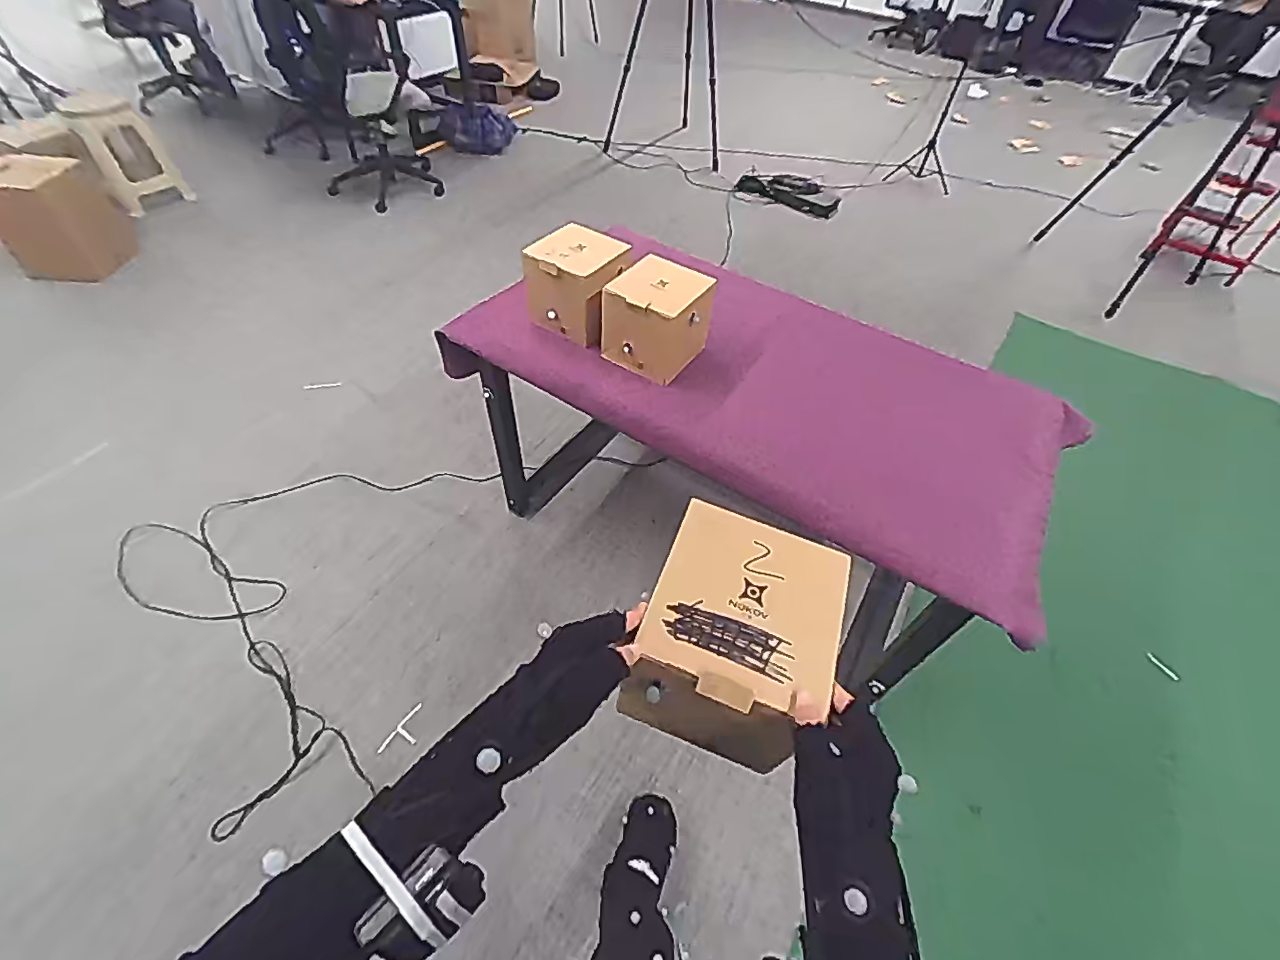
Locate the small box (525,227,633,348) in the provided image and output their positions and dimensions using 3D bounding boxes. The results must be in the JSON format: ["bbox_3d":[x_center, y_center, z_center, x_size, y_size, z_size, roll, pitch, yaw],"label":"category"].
[{"bbox_3d":[-0.135,-0.429,1.207,0.168,0.176,0.179,28,54,19],"label":"small box"}]

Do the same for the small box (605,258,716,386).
[{"bbox_3d":[0.037,-0.332,1.142,0.168,0.176,0.179,29,54,19],"label":"small box"}]
